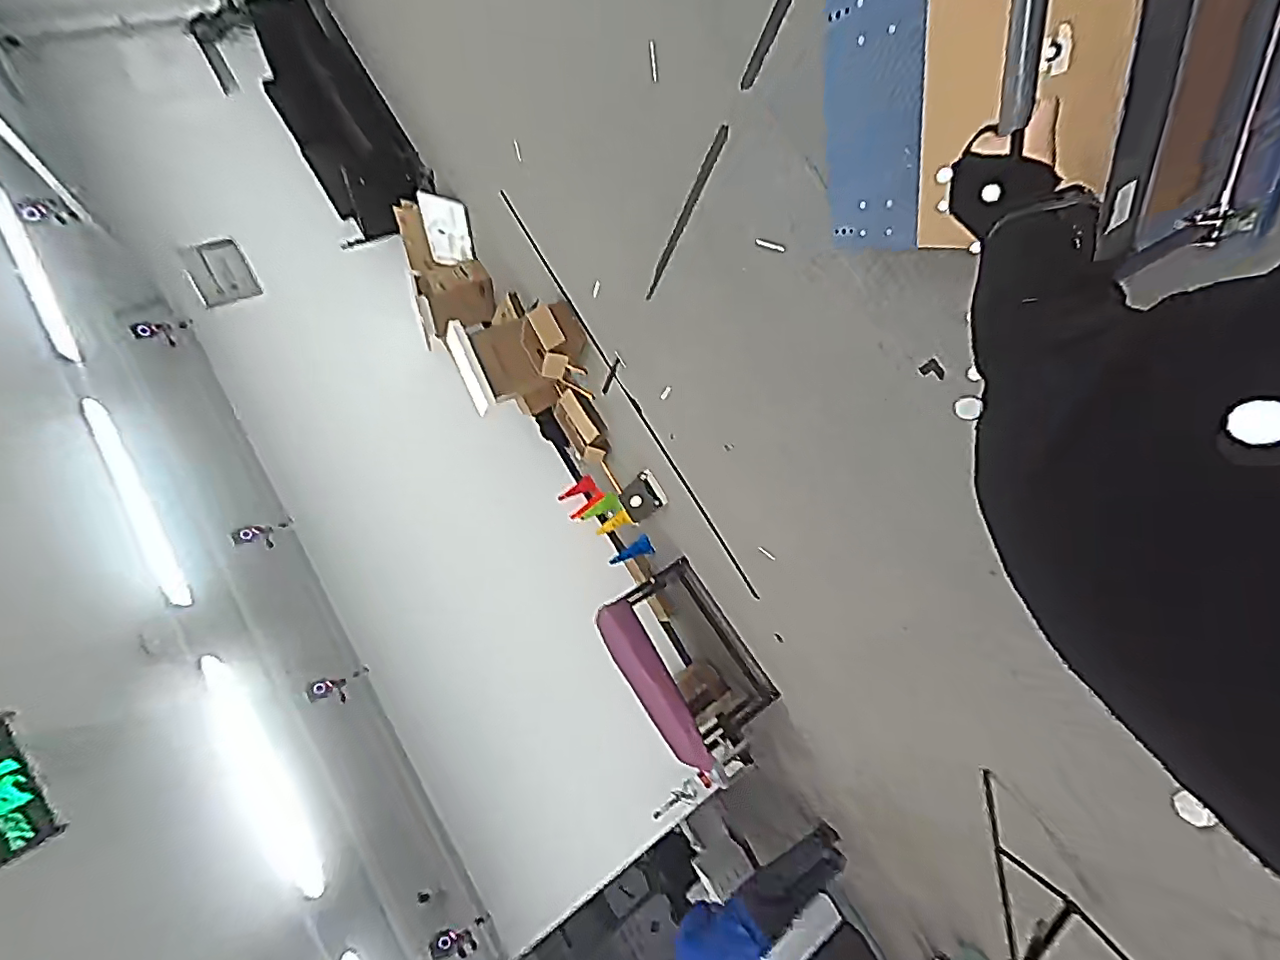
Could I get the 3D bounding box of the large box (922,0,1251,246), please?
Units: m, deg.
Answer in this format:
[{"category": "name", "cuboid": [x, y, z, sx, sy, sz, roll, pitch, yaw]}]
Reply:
[{"category": "large box", "cuboid": [0.707, -0.632, 0.885, 0.320, 0.320, 0.408, 32, 143, 50]}]
